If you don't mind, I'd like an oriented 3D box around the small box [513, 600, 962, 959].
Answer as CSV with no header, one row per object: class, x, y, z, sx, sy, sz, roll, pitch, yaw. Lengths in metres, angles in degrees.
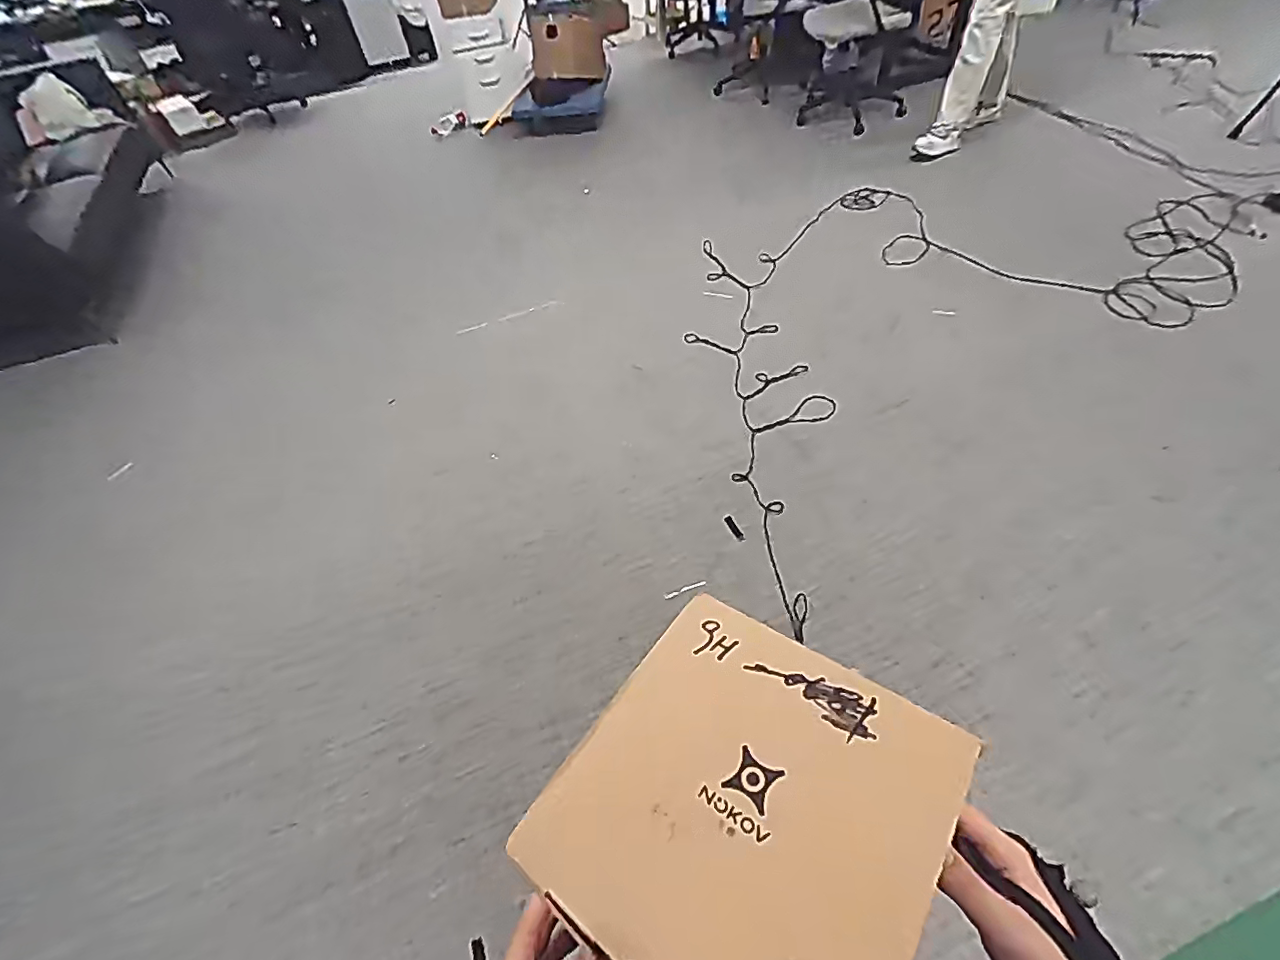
small box,0.062,0.215,0.325,0.168,0.176,0.179,23,53,32
